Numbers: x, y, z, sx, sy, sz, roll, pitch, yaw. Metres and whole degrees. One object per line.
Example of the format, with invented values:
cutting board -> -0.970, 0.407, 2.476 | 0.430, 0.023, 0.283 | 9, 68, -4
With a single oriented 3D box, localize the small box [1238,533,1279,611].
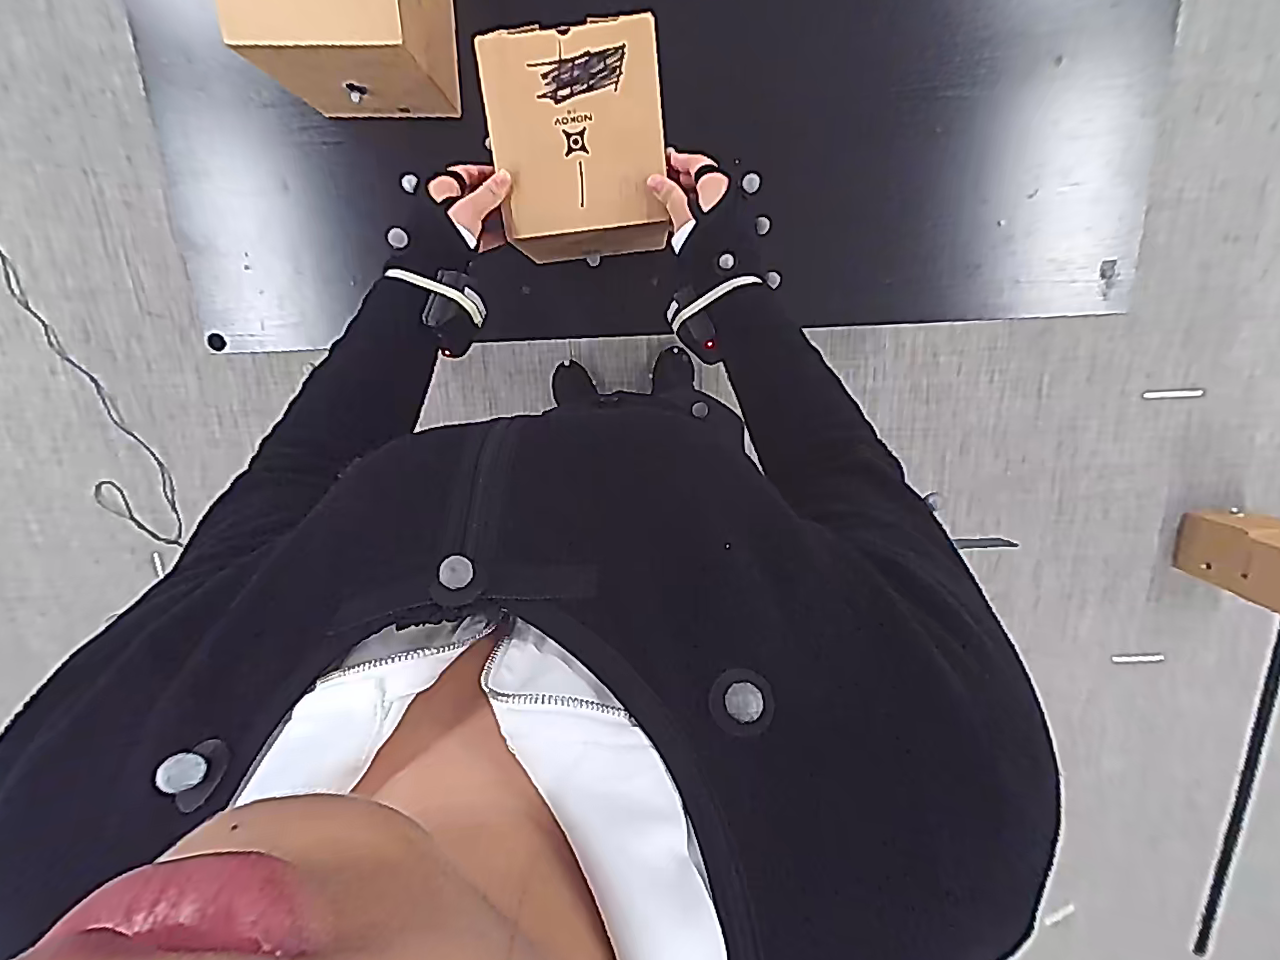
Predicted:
small box -> 1.614, 0.228, 1.289 | 0.179, 0.176, 0.168 | -5, 105, 1

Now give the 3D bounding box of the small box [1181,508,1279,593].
small box -> 1.618, 0.185, 1.448 | 0.168, 0.176, 0.179 | -3, 103, 1

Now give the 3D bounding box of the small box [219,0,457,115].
small box -> -0.297, -0.500, 0.553 | 0.168, 0.176, 0.179 | 0, 104, 0

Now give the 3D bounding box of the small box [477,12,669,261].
small box -> -0.061, -0.351, 0.587 | 0.168, 0.176, 0.179 | -6, 104, 3
